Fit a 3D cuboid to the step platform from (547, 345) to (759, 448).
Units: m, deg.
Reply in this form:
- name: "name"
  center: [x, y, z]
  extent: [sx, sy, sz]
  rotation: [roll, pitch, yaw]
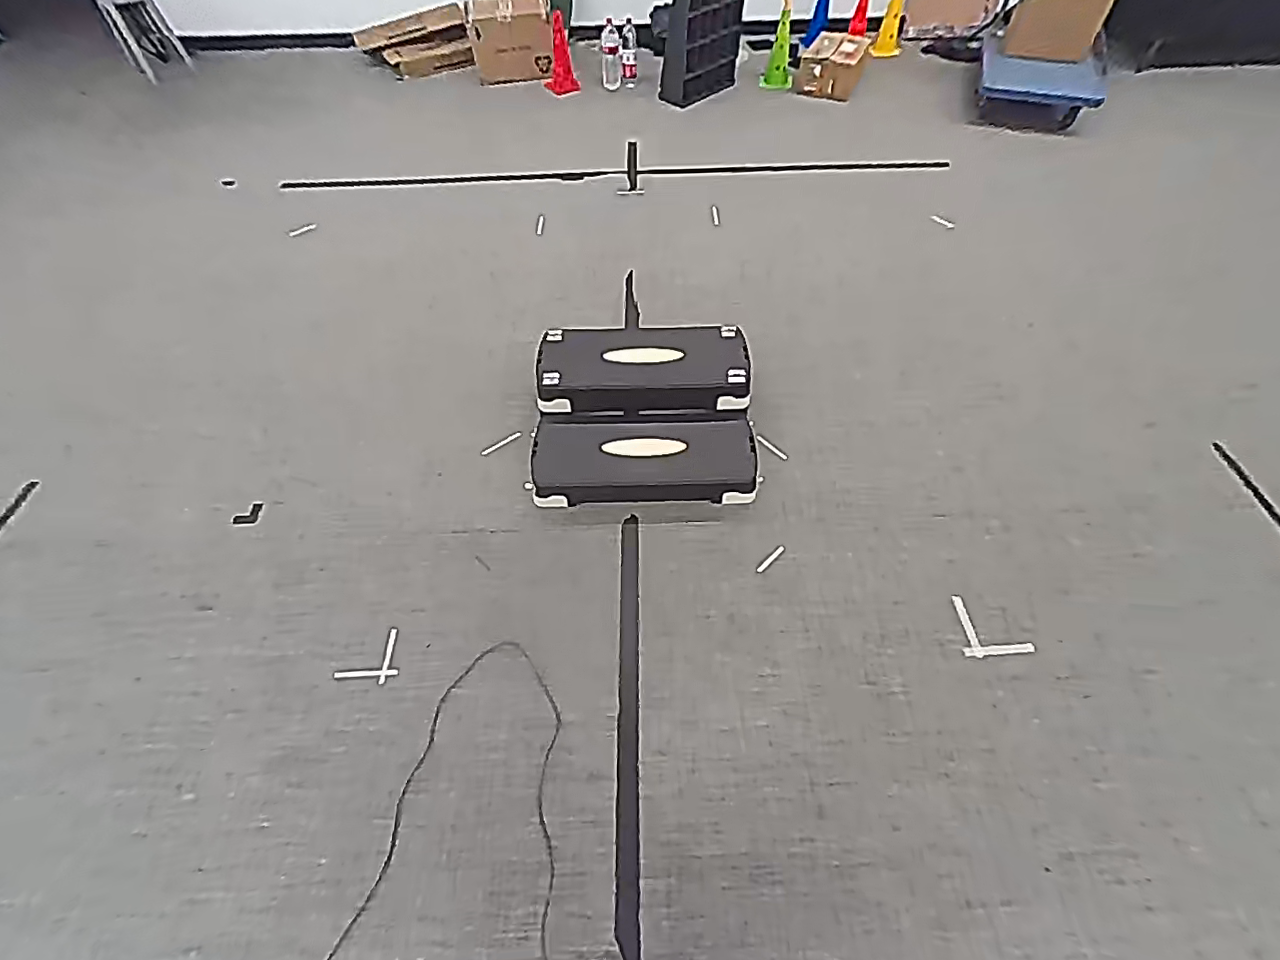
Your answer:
- name: "step platform"
  center: [0.041, -0.280, 1.773]
  extent: [0.684, 0.204, 0.286]
  rotation: [2, 54, 3]
